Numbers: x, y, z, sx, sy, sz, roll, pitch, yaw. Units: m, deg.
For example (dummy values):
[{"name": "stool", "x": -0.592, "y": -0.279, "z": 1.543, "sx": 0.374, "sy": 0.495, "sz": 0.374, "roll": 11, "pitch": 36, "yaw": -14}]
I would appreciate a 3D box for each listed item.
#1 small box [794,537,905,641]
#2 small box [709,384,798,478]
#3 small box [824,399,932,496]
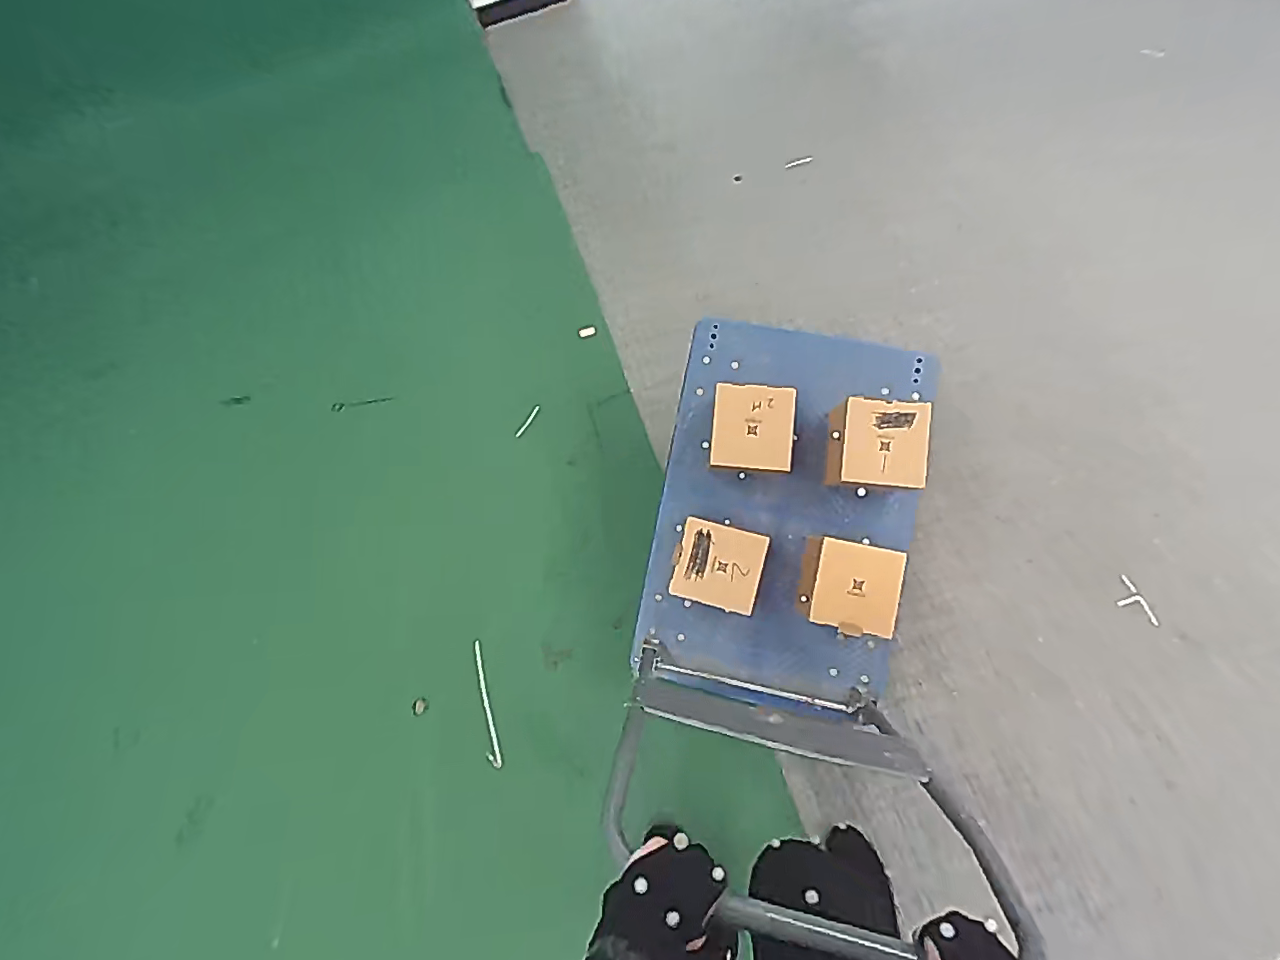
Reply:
[{"name": "small box", "x": 0.439, "y": 0.224, "z": 1.158, "sx": 0.168, "sy": 0.176, "sz": 0.179, "roll": 12, "pitch": 87, "yaw": 6}, {"name": "small box", "x": 0.245, "y": -0.102, "z": 1.201, "sx": 0.168, "sy": 0.176, "sz": 0.179, "roll": 6, "pitch": 86, "yaw": 5}, {"name": "small box", "x": 0.508, "y": -0.064, "z": 1.174, "sx": 0.168, "sy": 0.176, "sz": 0.179, "roll": 7, "pitch": 87, "yaw": 6}]
